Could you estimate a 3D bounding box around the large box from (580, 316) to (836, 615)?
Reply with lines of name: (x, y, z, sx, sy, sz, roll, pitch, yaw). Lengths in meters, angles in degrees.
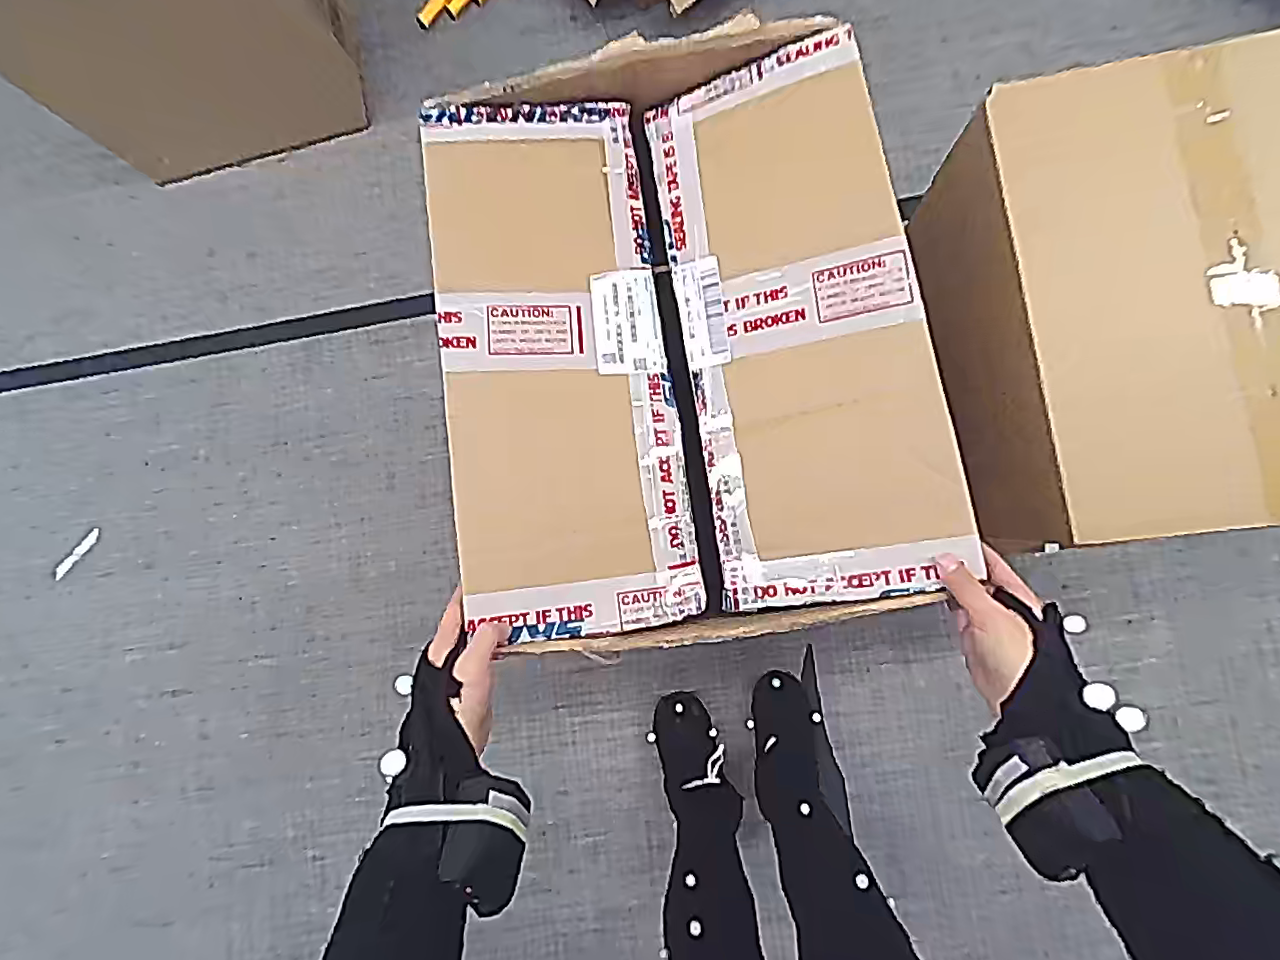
large box: (0.102, -0.011, 0.930, 0.320, 0.320, 0.408, -9, 83, 4)
